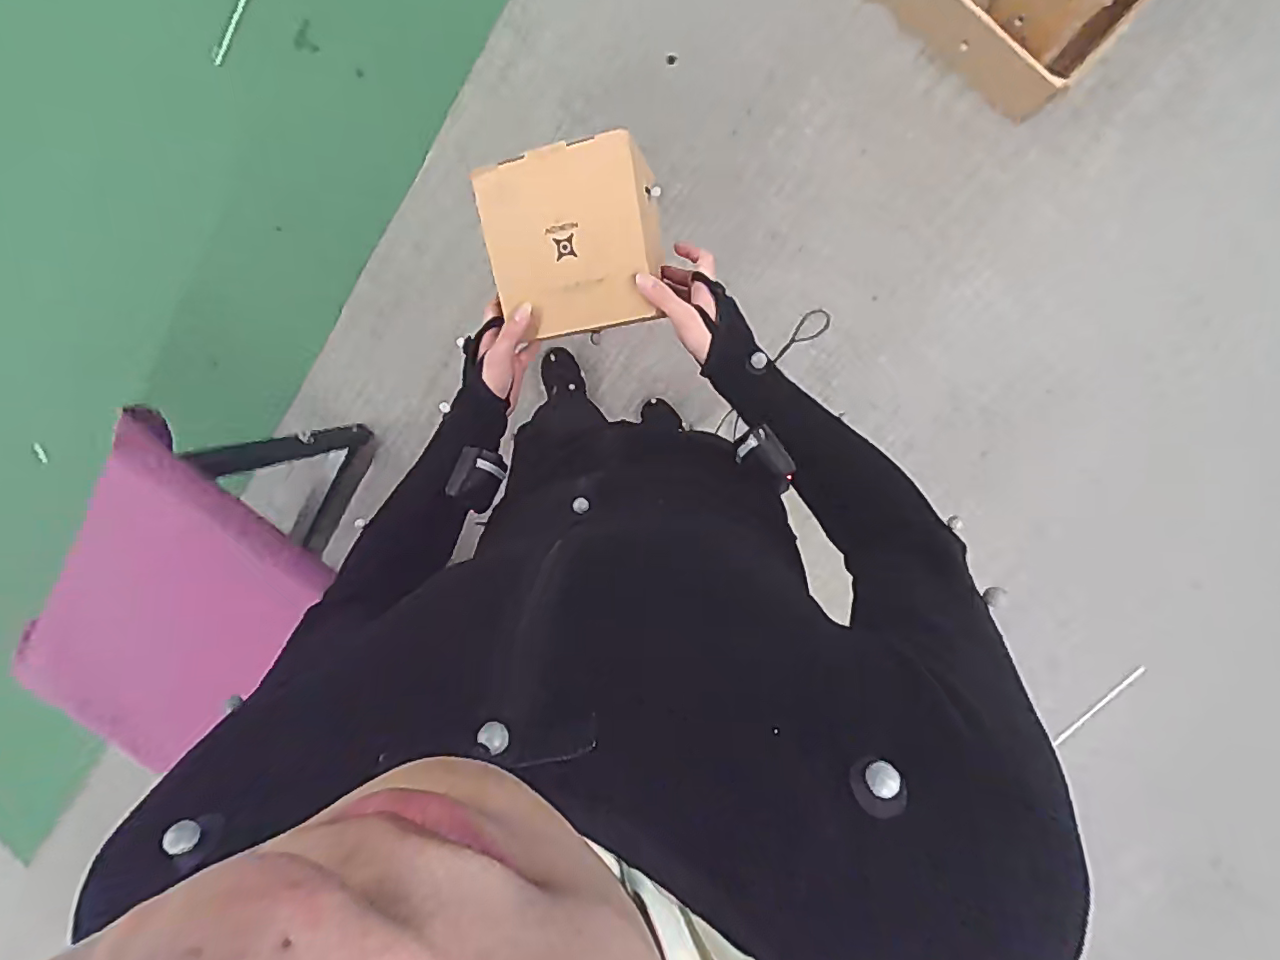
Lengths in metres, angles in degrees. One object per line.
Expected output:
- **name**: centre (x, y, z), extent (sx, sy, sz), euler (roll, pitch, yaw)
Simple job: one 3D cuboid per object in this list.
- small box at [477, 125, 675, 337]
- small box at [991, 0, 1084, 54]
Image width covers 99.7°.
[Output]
- **small box**: centre (-0.058, -0.264, 0.617), extent (0.168, 0.176, 0.179), euler (-6, 106, 12)
- **small box**: centre (0.900, -1.075, 1.146), extent (0.168, 0.176, 0.179), euler (42, 104, -2)
